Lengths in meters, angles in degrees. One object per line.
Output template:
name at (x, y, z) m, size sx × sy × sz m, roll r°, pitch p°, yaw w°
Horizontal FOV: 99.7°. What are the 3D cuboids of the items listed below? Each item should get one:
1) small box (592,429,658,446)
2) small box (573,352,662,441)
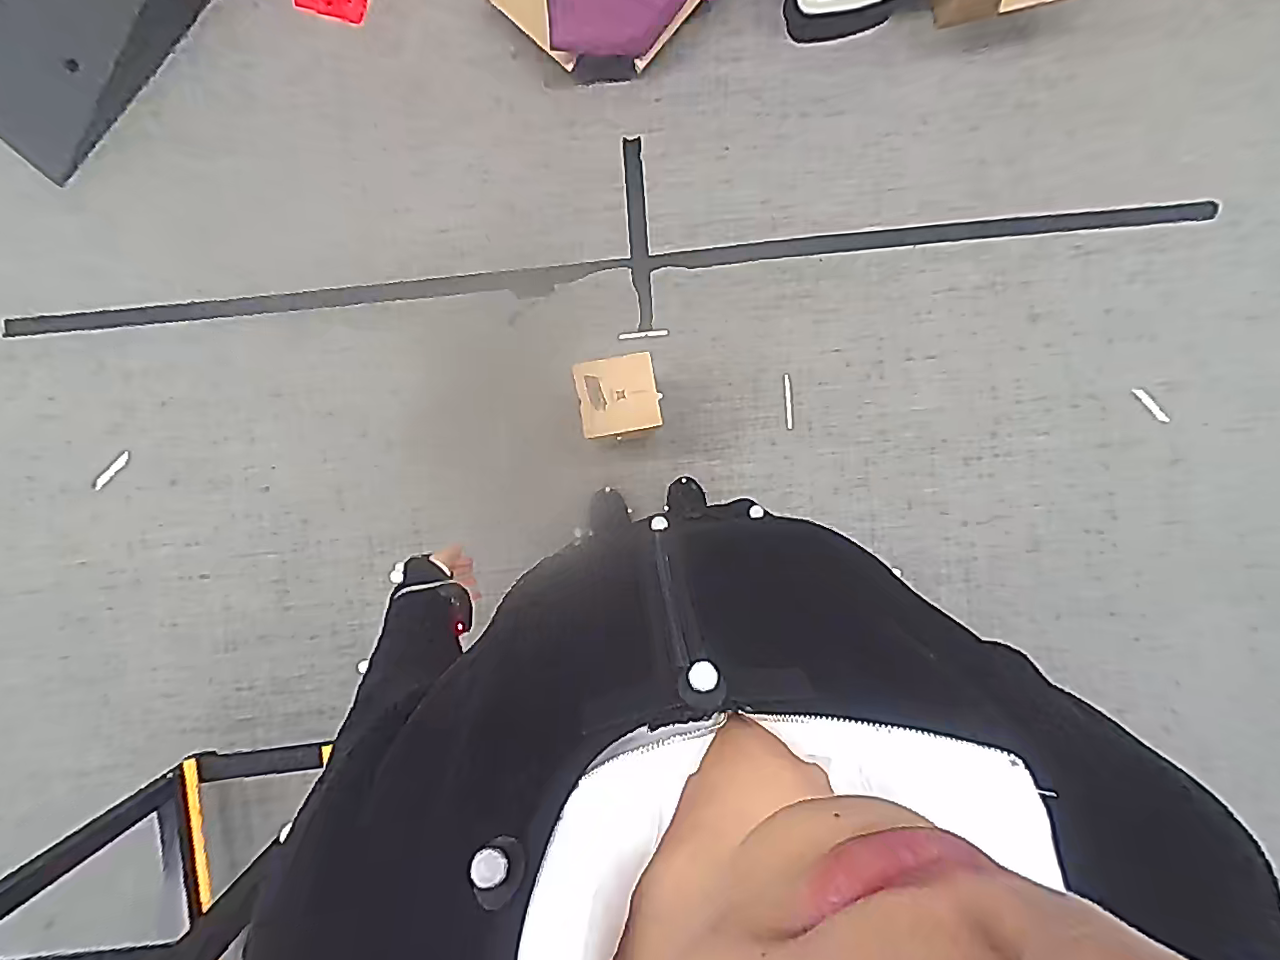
small box at (-0.053, -0.188, 1.415) m, size 0.168 × 0.176 × 0.179 m, roll -12°, pitch 93°, yaw 1°
small box at (-0.047, -0.185, 1.250) m, size 0.179 × 0.176 × 0.168 m, roll -10°, pitch 92°, yaw 0°
